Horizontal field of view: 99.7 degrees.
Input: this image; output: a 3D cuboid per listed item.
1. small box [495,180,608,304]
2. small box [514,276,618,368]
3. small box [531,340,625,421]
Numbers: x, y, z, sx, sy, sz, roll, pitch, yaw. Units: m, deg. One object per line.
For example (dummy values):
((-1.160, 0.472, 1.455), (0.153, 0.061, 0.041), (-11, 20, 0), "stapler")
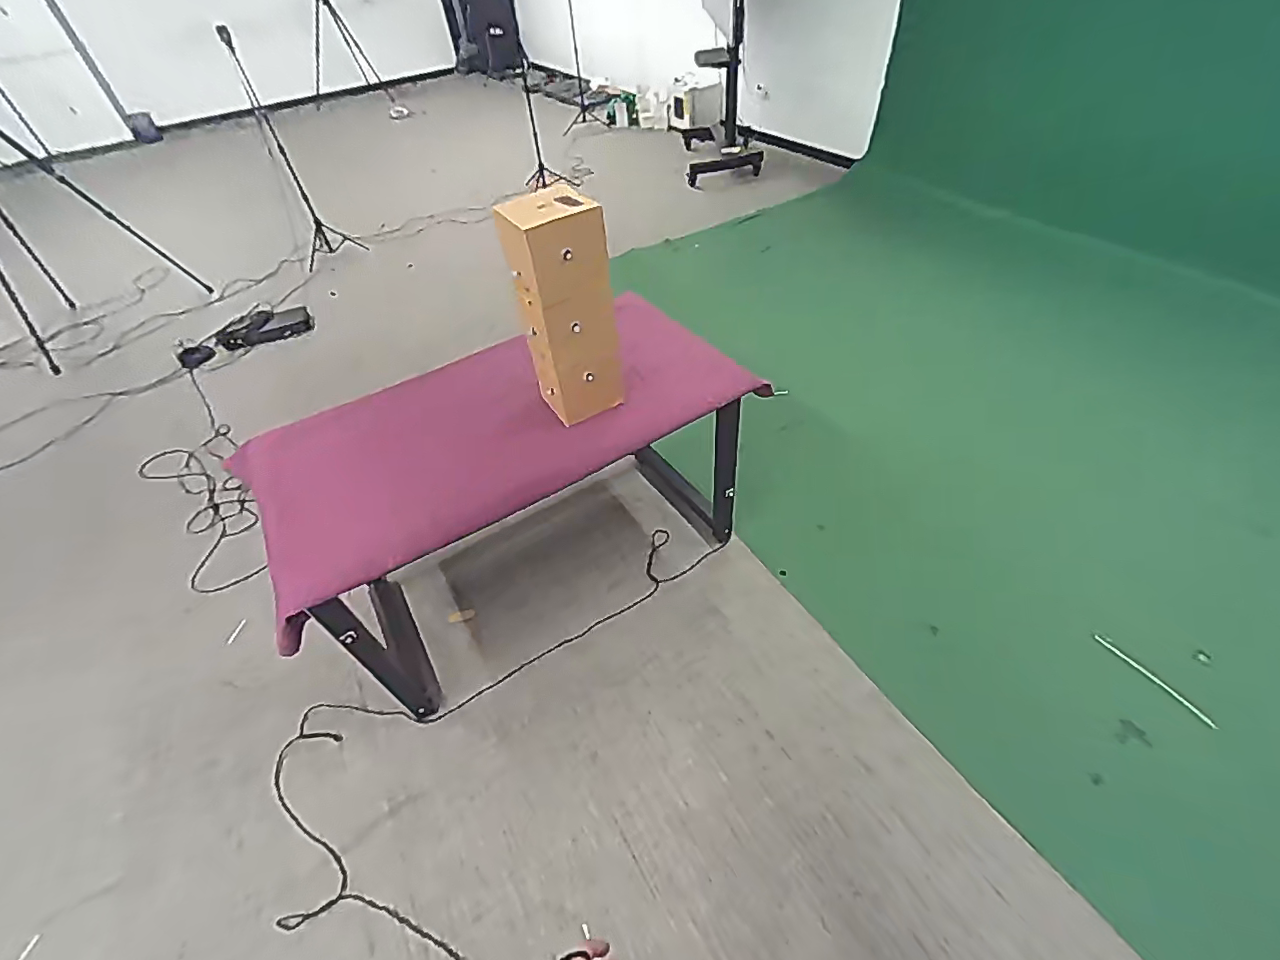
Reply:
((-0.178, -0.502, 1.142), (0.179, 0.176, 0.168), (-28, 51, -18), "small box")
((-0.166, -0.389, 1.262), (0.179, 0.176, 0.168), (-28, 52, -17), "small box")
((-0.154, -0.277, 1.380), (0.179, 0.176, 0.168), (-25, 50, -17), "small box")
